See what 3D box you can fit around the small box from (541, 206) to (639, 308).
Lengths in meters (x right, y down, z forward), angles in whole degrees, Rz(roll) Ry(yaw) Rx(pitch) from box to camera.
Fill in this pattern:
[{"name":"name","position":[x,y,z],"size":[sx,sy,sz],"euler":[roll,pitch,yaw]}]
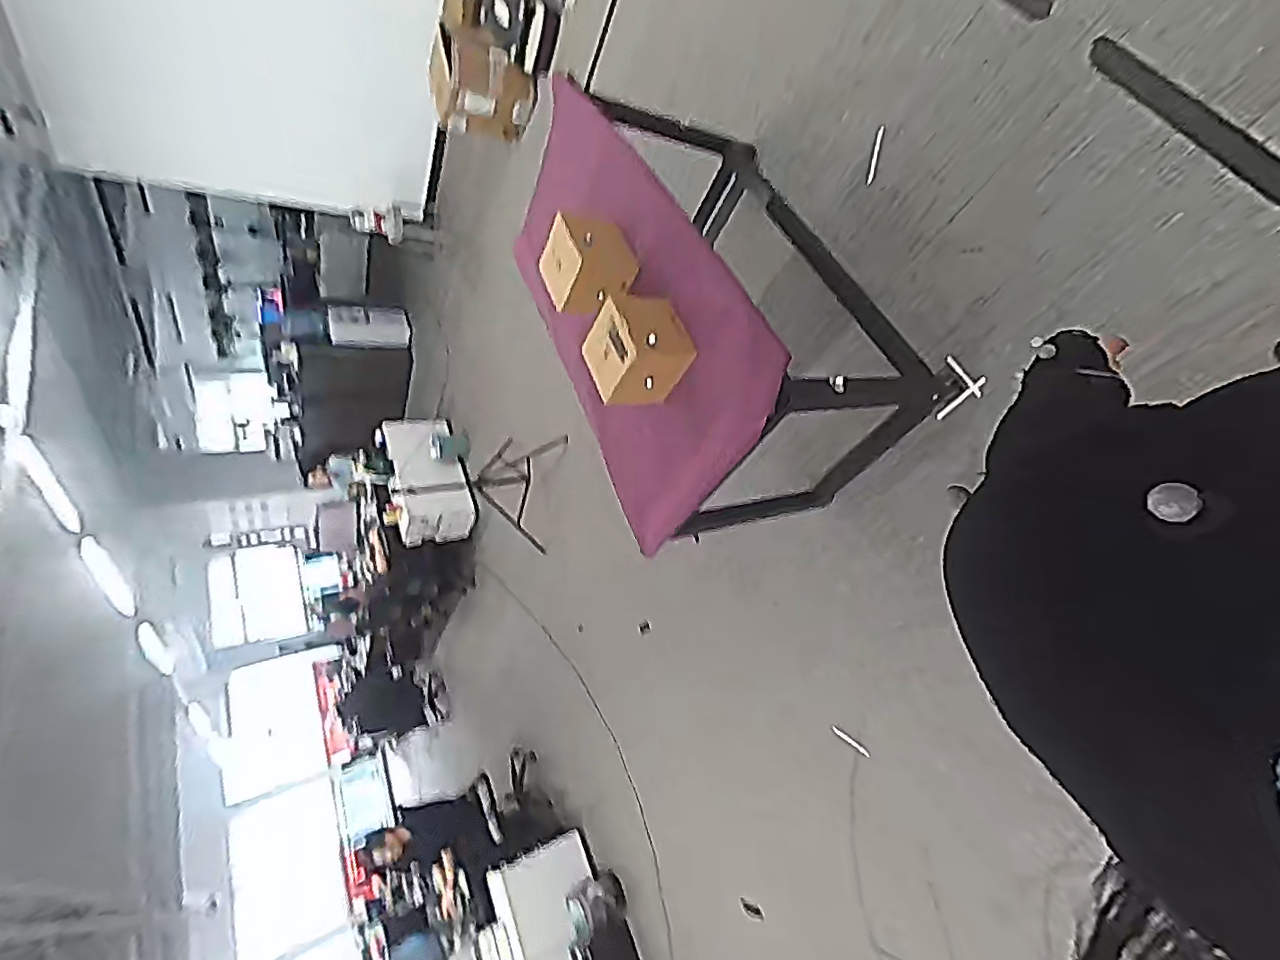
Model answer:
[{"name":"small box","position":[-0.125,-0.556,1.368],"size":[0.168,0.176,0.179],"euler":[-49,57,47]}]
